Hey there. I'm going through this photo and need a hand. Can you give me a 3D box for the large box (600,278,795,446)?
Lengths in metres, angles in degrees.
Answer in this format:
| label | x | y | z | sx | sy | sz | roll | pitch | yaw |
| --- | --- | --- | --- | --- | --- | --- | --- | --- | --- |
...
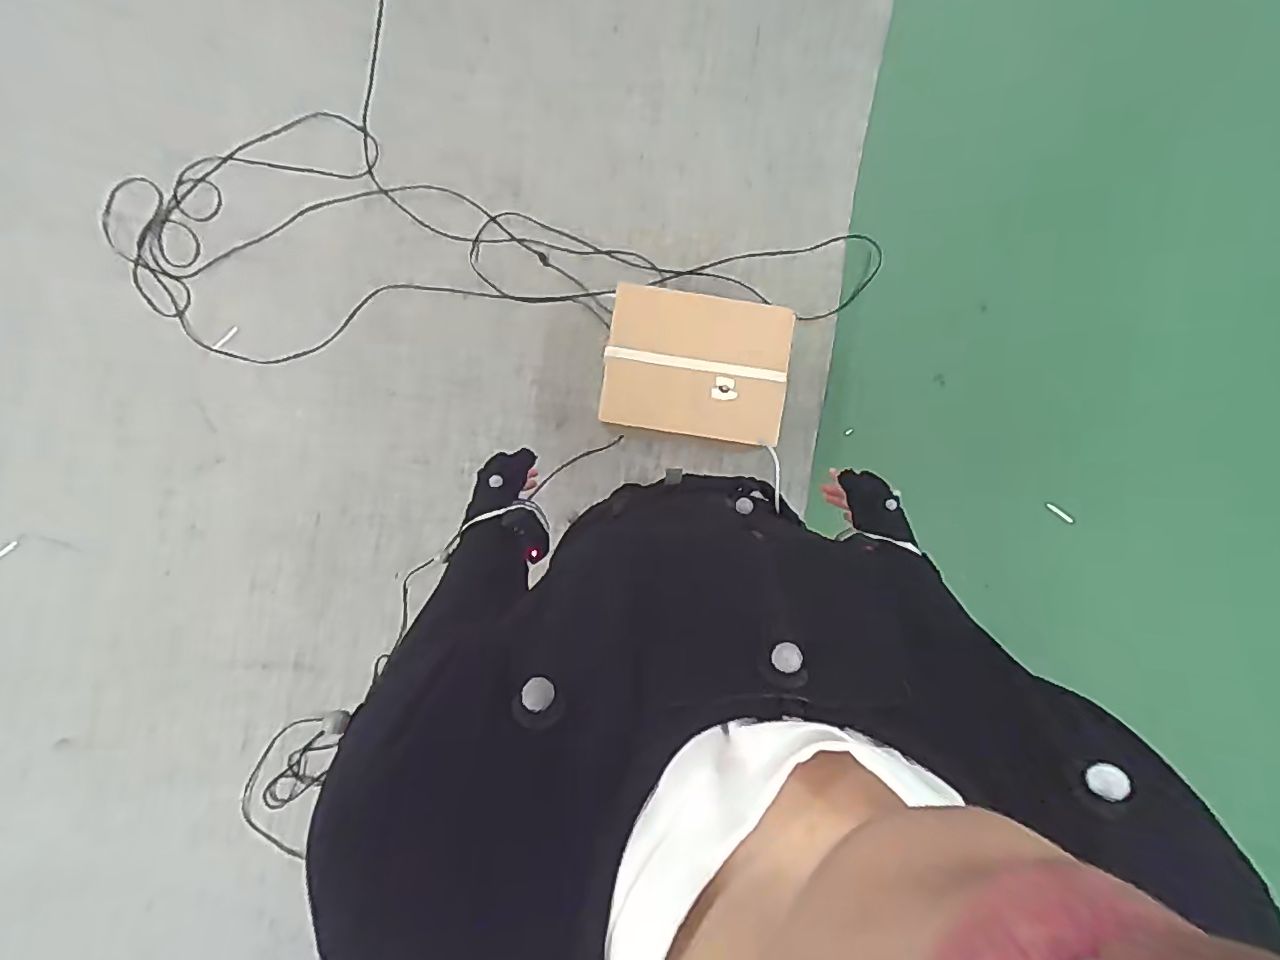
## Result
| label | x | y | z | sx | sy | sz | roll | pitch | yaw |
| --- | --- | --- | --- | --- | --- | --- | --- | --- | --- |
| large box | 0.121 | -0.267 | 1.337 | 0.408 | 0.320 | 0.320 | 8 | 91 | -2 |
